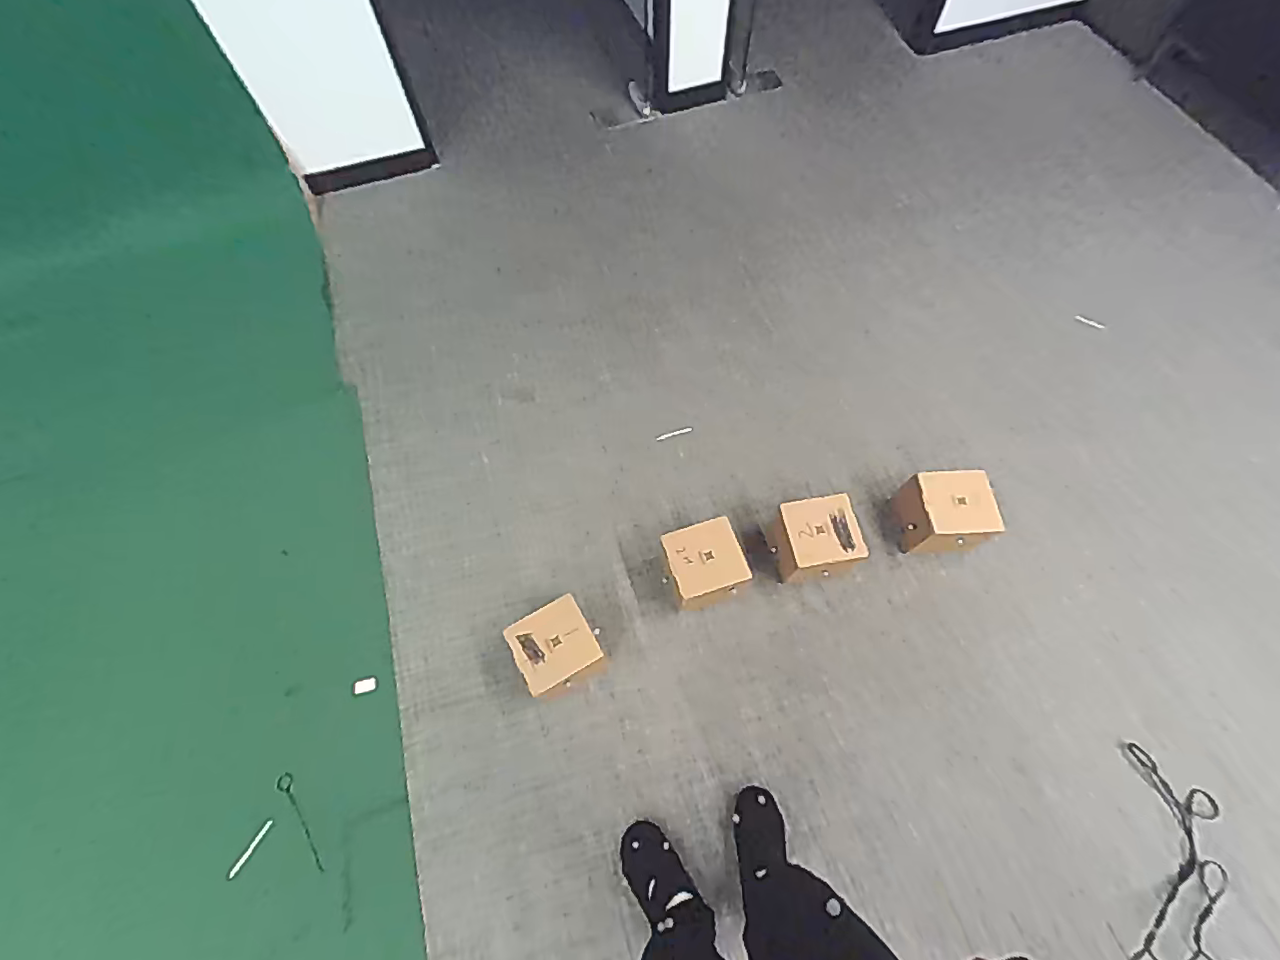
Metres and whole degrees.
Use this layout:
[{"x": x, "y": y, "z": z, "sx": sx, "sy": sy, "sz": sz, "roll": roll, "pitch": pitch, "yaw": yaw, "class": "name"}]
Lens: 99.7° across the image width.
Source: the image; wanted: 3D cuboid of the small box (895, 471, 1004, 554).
[{"x": 0.782, "y": 0.088, "z": 1.395, "sx": 0.179, "sy": 0.176, "sz": 0.168, "roll": -2, "pitch": 66, "yaw": -1, "class": "small box"}]

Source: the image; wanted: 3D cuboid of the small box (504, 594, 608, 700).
[{"x": -0.190, "y": 0.398, "z": 1.269, "sx": 0.179, "sy": 0.176, "sz": 0.168, "roll": -28, "pitch": 68, "yaw": -12, "class": "small box"}]

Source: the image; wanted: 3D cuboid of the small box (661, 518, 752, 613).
[{"x": 0.157, "y": 0.217, "z": 1.346, "sx": 0.179, "sy": 0.176, "sz": 0.168, "roll": -17, "pitch": 65, "yaw": -6, "class": "small box"}]
